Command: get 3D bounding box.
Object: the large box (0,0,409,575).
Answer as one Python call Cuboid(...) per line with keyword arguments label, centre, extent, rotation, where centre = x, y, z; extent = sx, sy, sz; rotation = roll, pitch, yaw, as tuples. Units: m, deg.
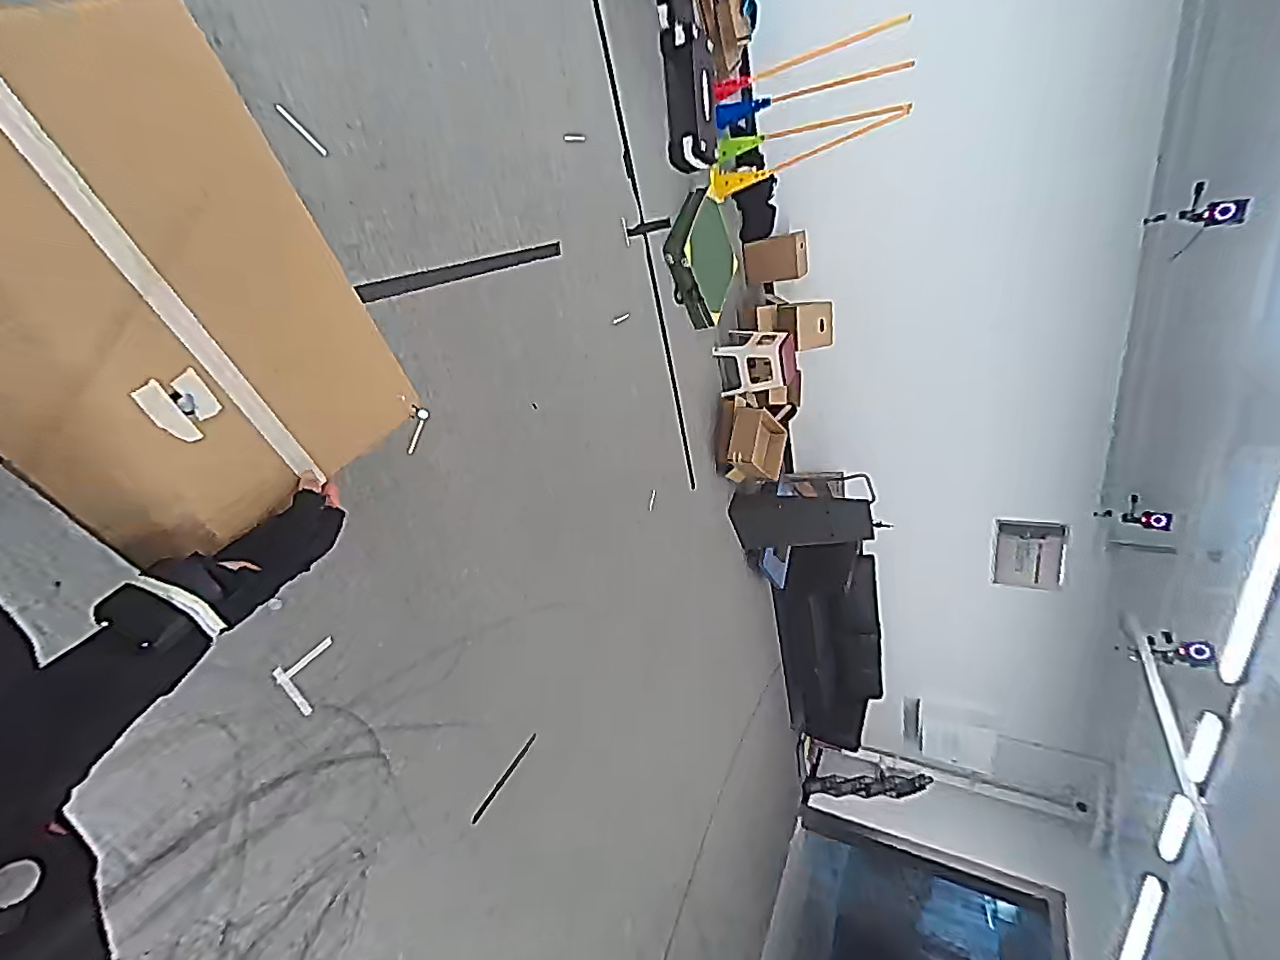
Cuboid(label="large box", centre=(-0.540, -0.175, 0.553), extent=(0.320, 0.320, 0.408), rotation=(-51, 138, -35))
